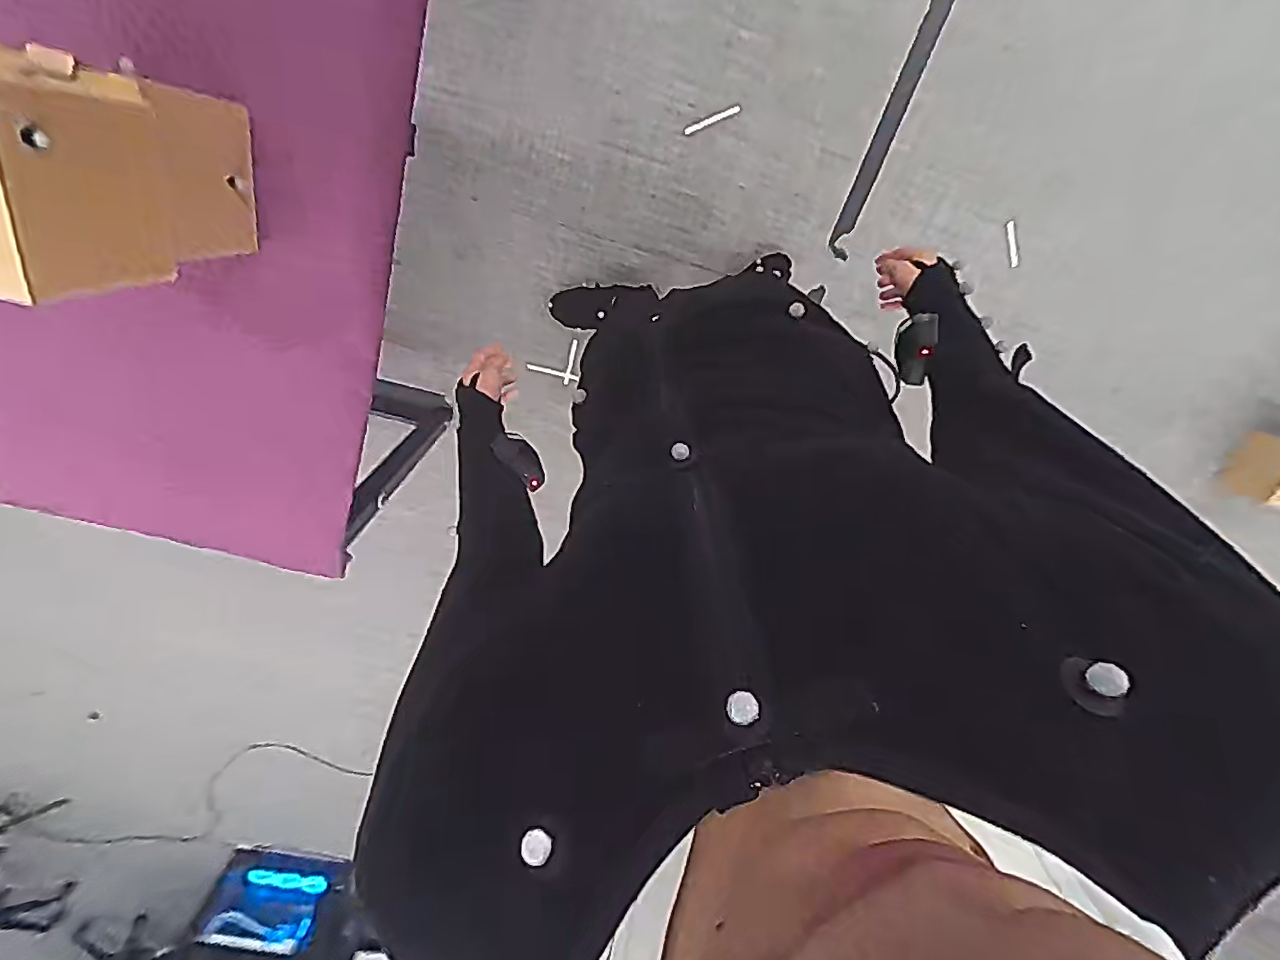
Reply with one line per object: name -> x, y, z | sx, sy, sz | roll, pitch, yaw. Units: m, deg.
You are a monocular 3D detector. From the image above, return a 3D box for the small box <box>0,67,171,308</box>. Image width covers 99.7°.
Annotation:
small box -> -0.590, -0.280, 0.505 | 0.168, 0.176, 0.179 | 12, 116, -5

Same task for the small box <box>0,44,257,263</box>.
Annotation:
small box -> -0.593, -0.372, 0.641 | 0.168, 0.176, 0.179 | 12, 116, -5
